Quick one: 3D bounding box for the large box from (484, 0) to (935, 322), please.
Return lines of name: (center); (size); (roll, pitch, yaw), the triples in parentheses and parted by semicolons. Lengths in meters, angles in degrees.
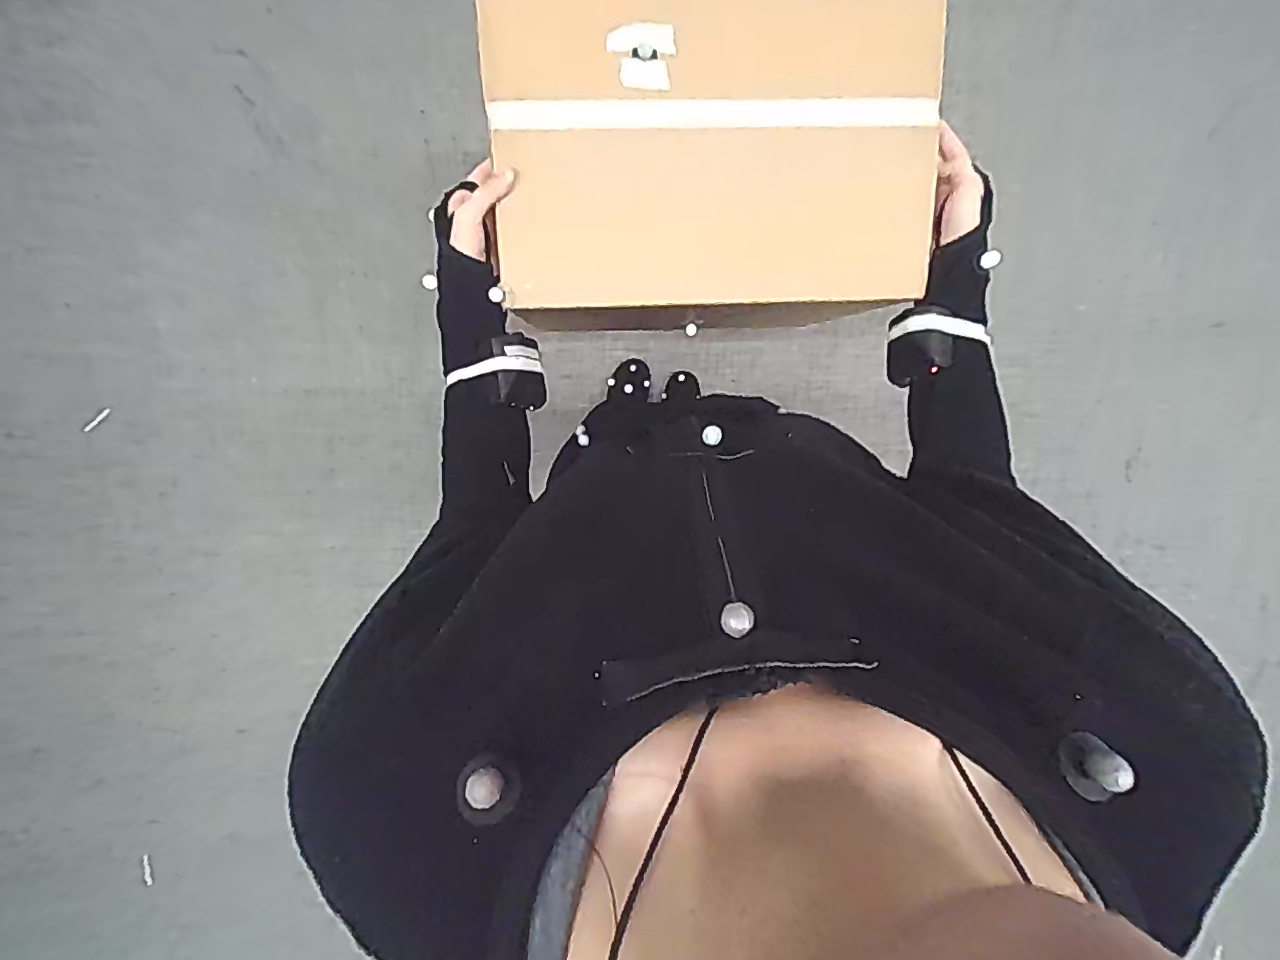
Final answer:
large box: (0.061, -0.361, 0.635); (0.408, 0.320, 0.320); (-2, 101, -3)
